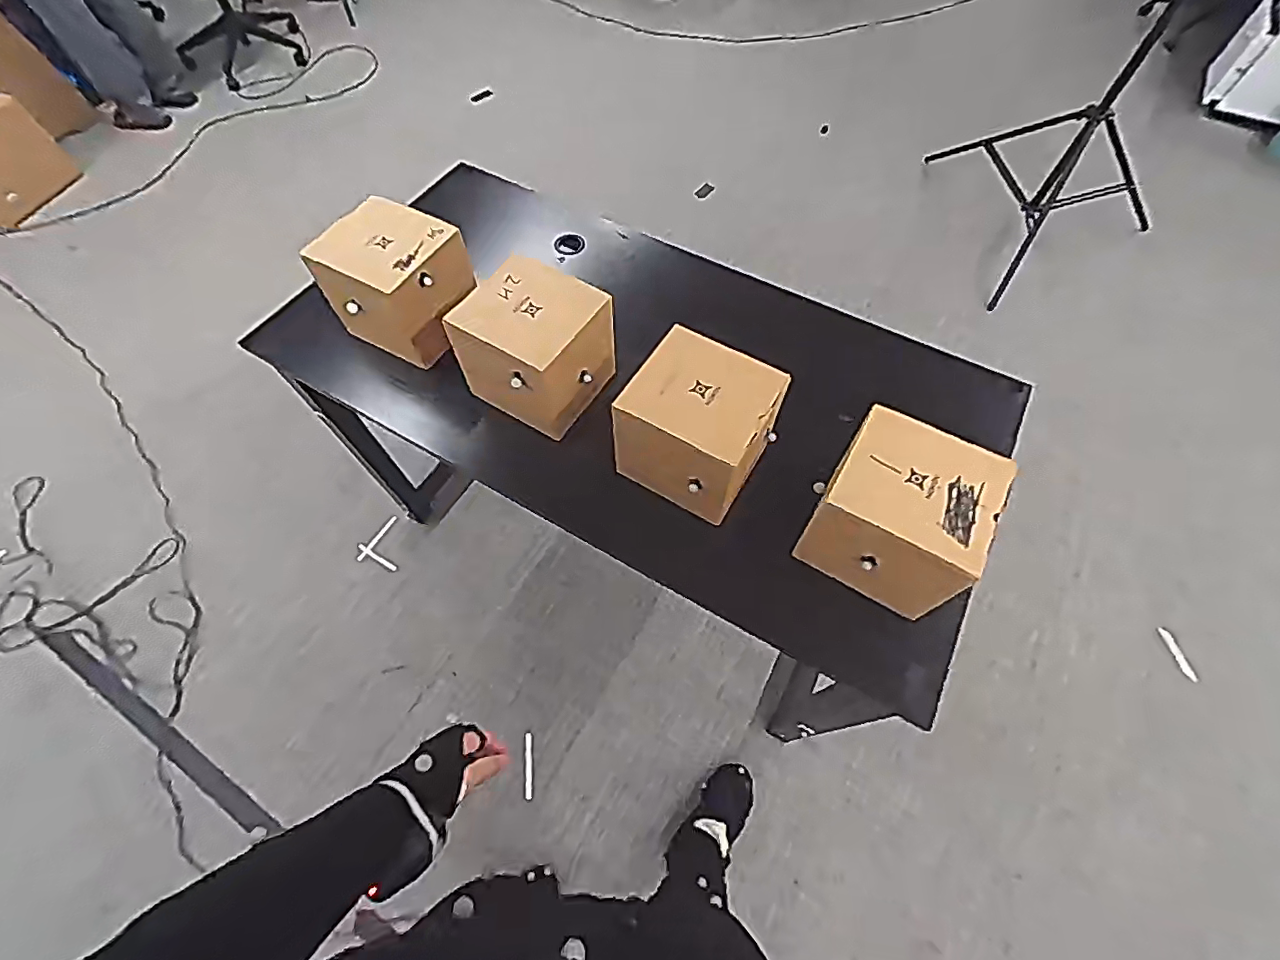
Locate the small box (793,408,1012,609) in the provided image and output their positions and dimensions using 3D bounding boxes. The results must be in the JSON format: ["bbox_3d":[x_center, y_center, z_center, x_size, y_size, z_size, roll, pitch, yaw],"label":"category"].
[{"bbox_3d":[0.322,0.046,0.693,0.179,0.176,0.168,28,64,16],"label":"small box"}]

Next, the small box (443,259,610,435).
[{"bbox_3d":[-0.158,-0.193,0.824,0.179,0.176,0.168,28,64,15],"label":"small box"}]

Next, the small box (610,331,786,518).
[{"bbox_3d":[0.077,-0.068,0.759,0.179,0.176,0.168,27,63,15],"label":"small box"}]

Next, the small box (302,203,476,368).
[{"bbox_3d":[-0.394,-0.313,0.890,0.179,0.176,0.168,25,64,13],"label":"small box"}]
